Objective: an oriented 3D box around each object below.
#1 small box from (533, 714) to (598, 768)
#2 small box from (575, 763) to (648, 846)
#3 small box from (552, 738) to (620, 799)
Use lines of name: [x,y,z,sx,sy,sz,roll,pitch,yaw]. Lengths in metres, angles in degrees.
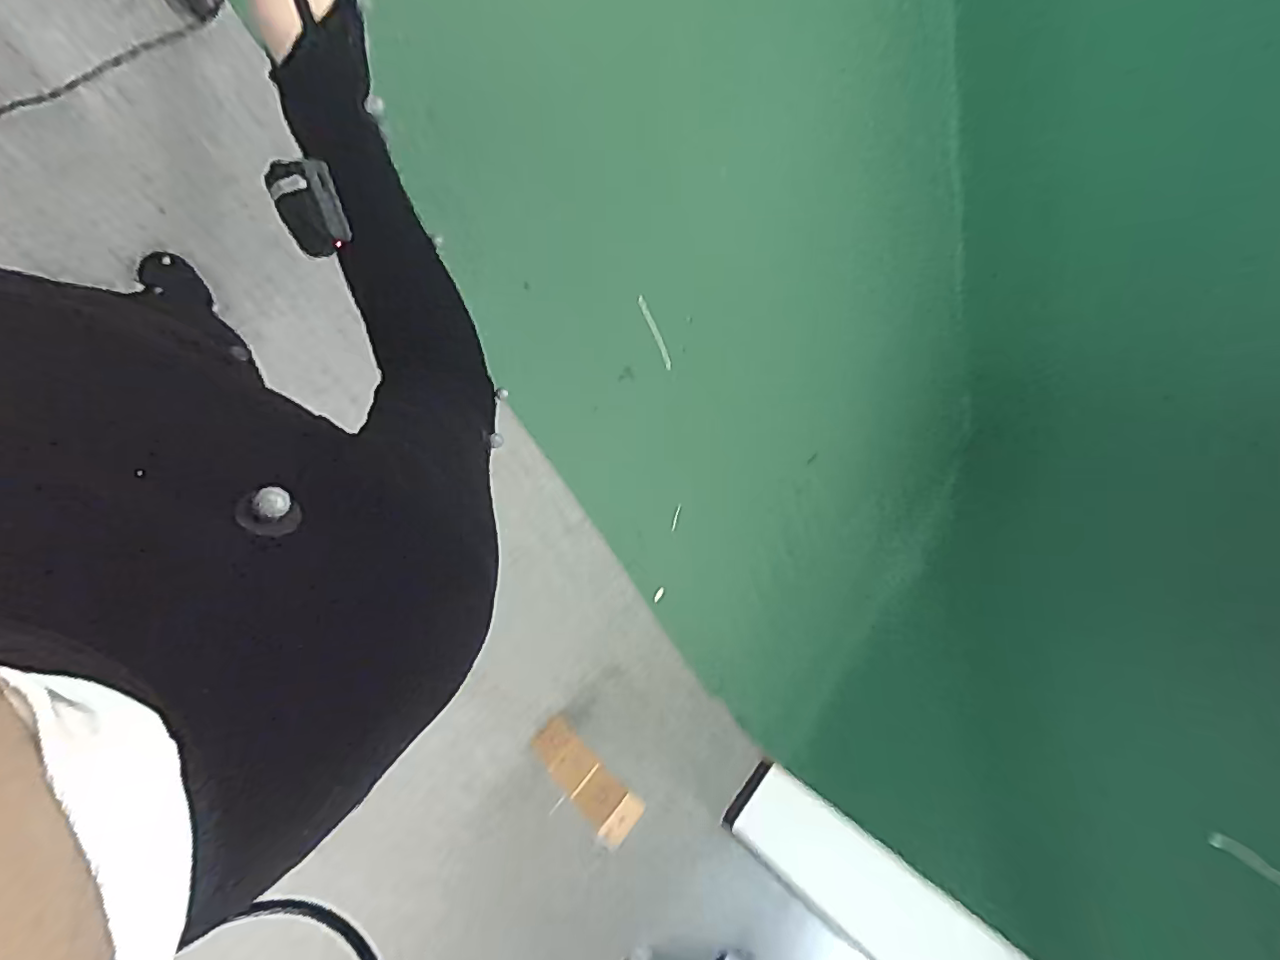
small box: [-0.314,1.105,2.238,0.168,0.176,0.179,-43,128,-20]
small box: [-0.109,1.193,2.000,0.179,0.176,0.168,-46,129,-21]
small box: [-0.214,1.148,2.118,0.168,0.176,0.179,-46,129,-19]
